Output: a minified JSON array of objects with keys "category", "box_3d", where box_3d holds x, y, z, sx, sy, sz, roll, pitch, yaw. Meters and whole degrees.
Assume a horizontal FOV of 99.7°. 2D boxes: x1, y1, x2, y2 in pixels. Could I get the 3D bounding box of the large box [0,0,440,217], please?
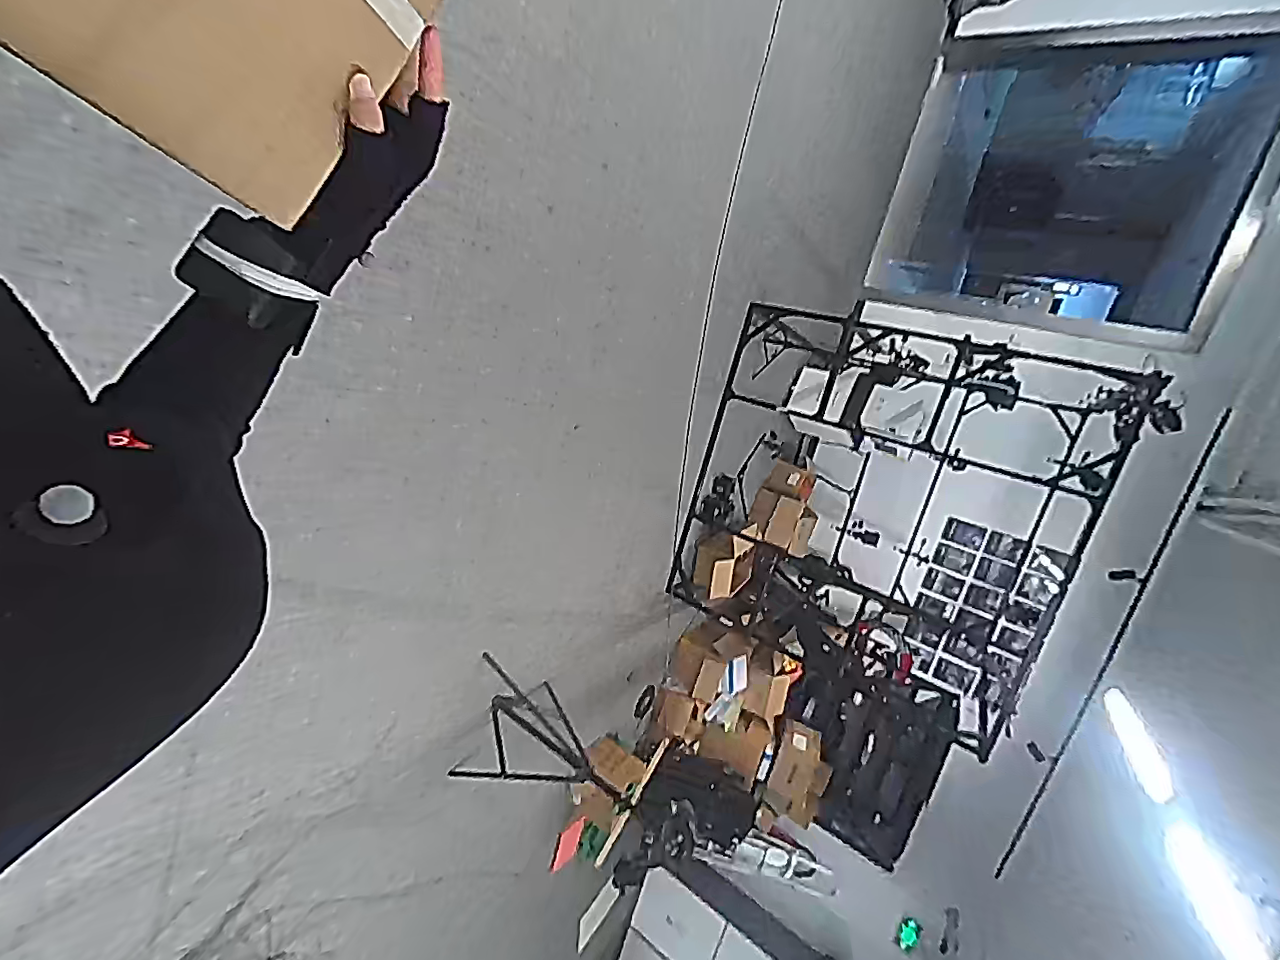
[{"category":"large box","box_3d":[-0.353,-0.436,0.289,0.320,0.320,0.408,-54,148,3]}]
